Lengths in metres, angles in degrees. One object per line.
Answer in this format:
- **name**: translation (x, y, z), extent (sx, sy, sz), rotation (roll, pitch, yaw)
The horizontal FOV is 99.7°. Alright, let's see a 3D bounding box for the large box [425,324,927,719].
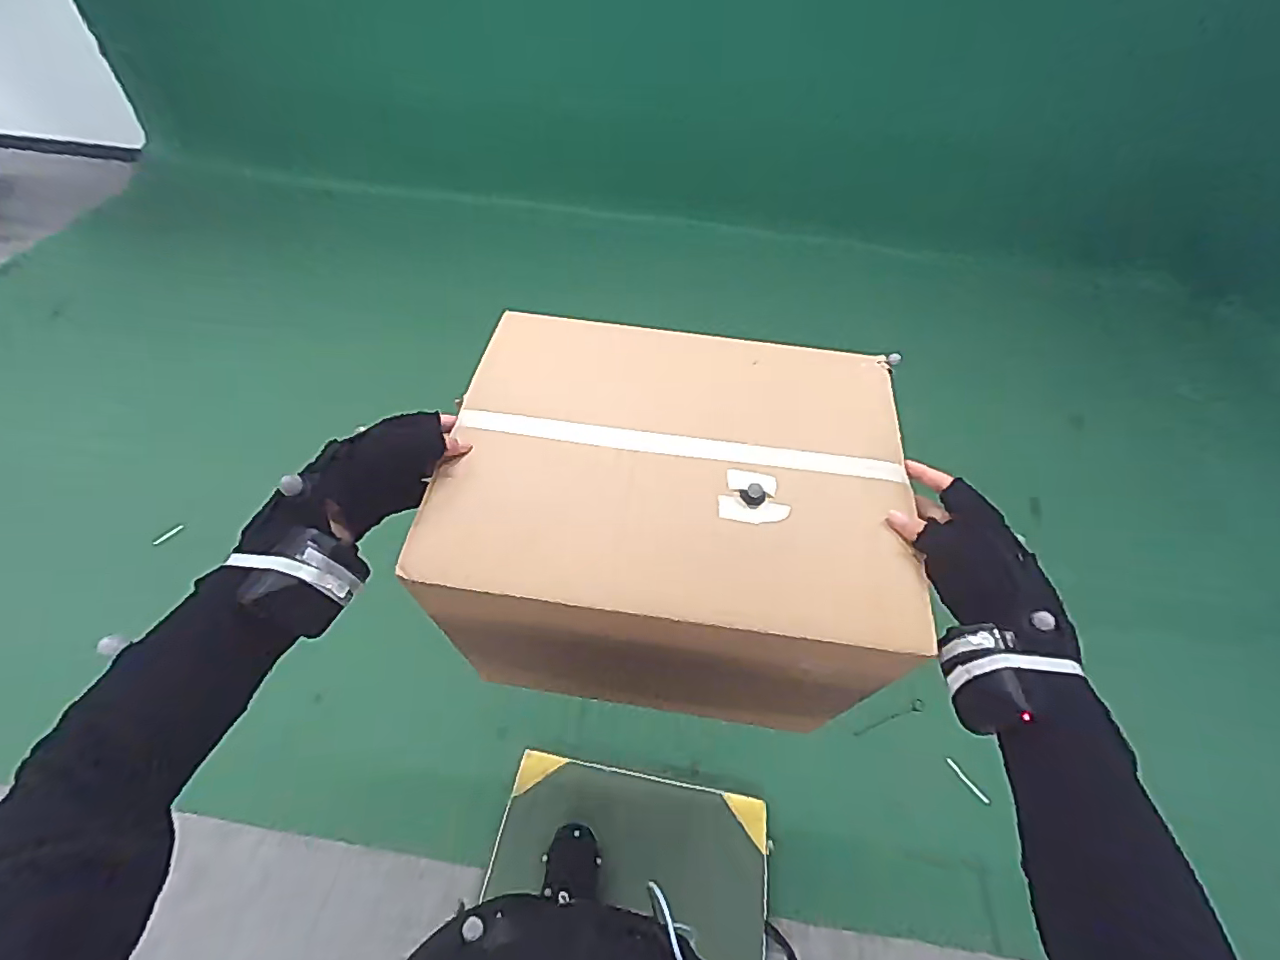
- **large box**: translation (0.034, 0.060, 0.623), extent (0.408, 0.320, 0.320), rotation (8, 56, 2)
